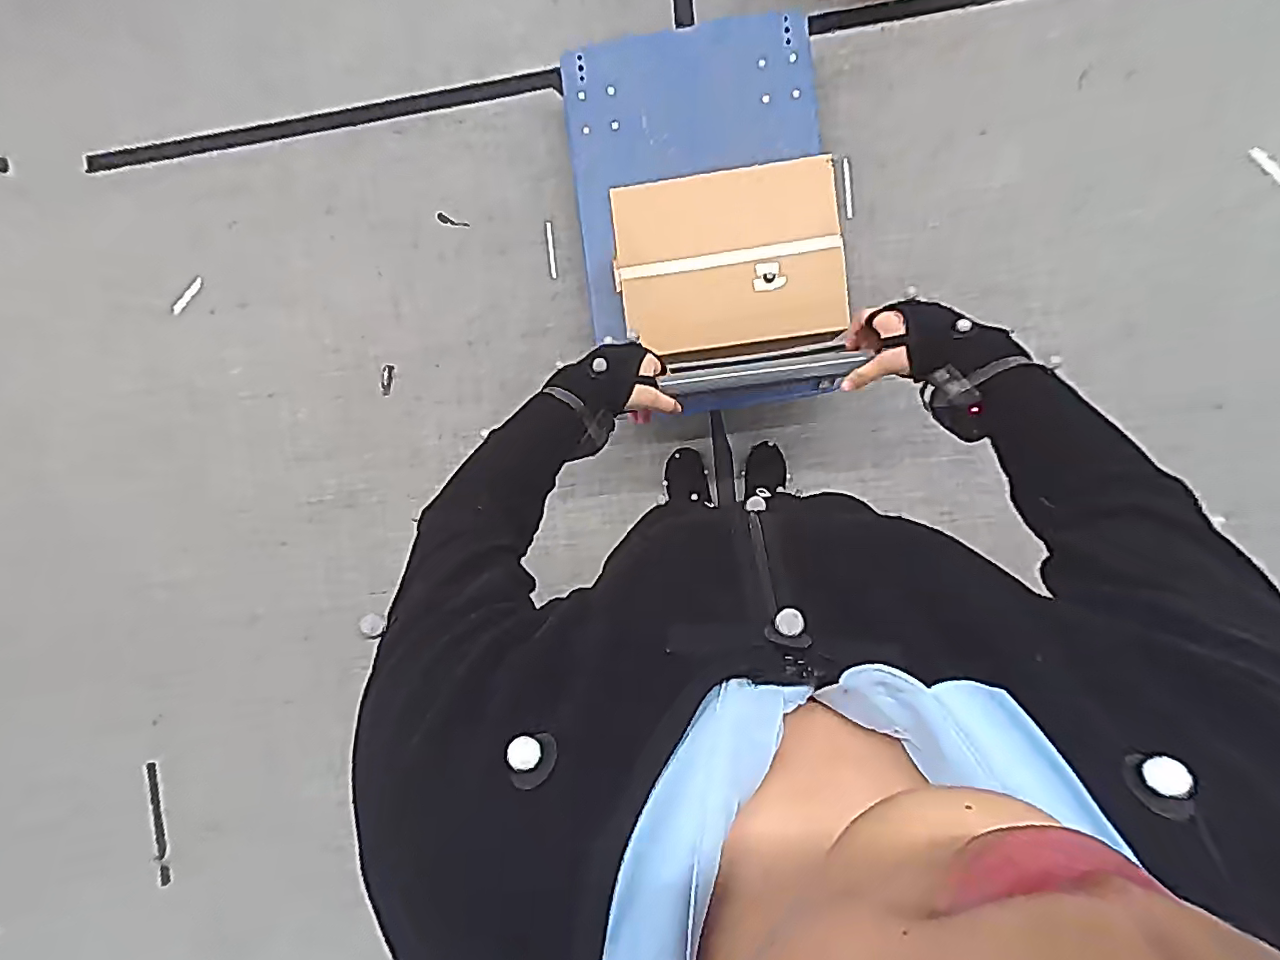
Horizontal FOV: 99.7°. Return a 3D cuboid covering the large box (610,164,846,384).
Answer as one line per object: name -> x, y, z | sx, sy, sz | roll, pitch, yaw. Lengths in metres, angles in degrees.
large box -> 0.166, -0.398, 1.134 | 0.408, 0.320, 0.320 | -7, 94, 3
